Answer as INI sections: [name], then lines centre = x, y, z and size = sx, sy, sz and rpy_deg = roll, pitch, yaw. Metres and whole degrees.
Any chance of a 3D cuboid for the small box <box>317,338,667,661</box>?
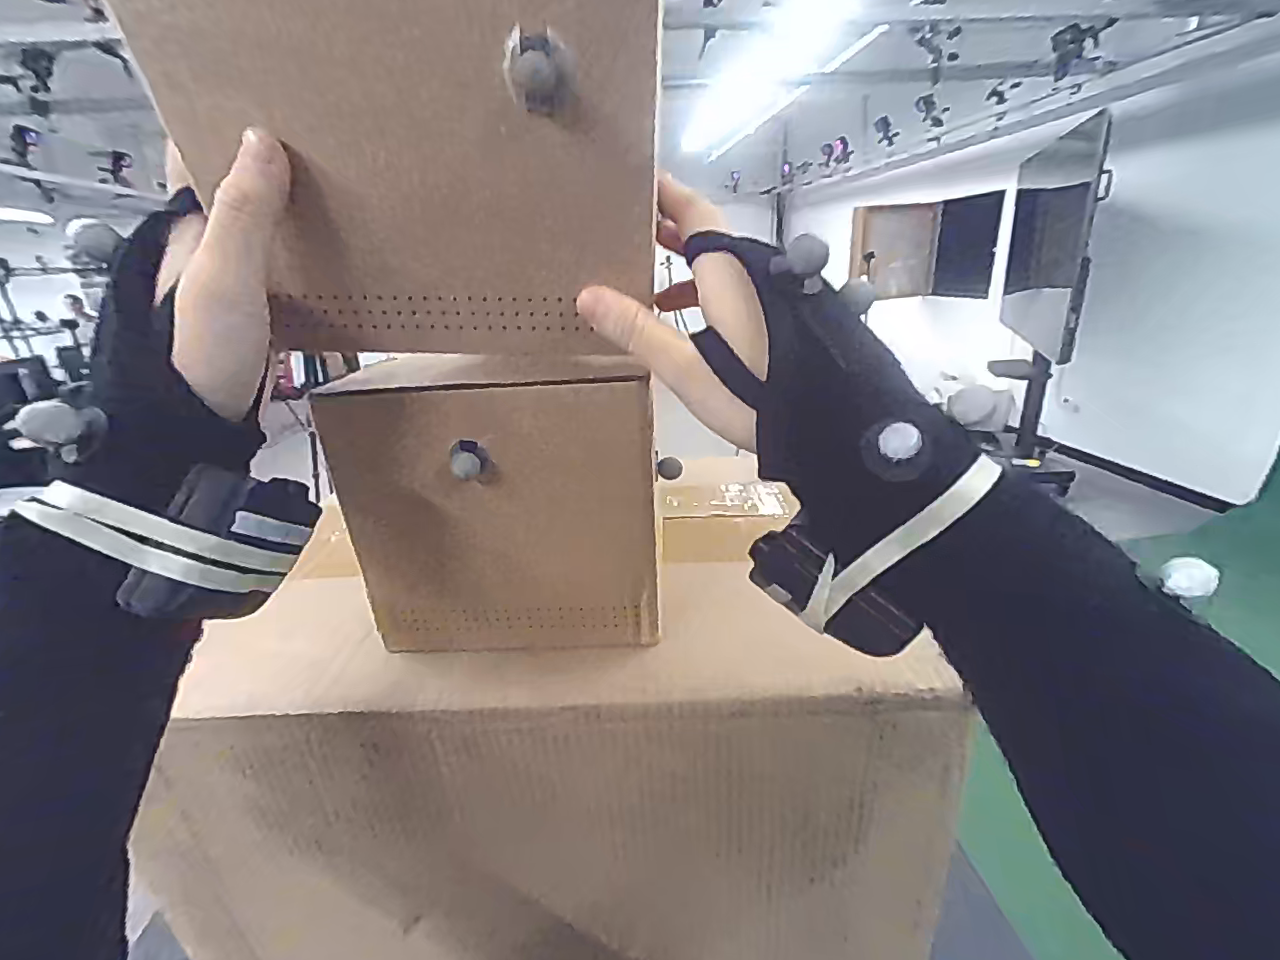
[small box]
centre = -0.070, 0.006, 0.373
size = 0.179, 0.176, 0.168
rpy_deg = -3, 24, 4
